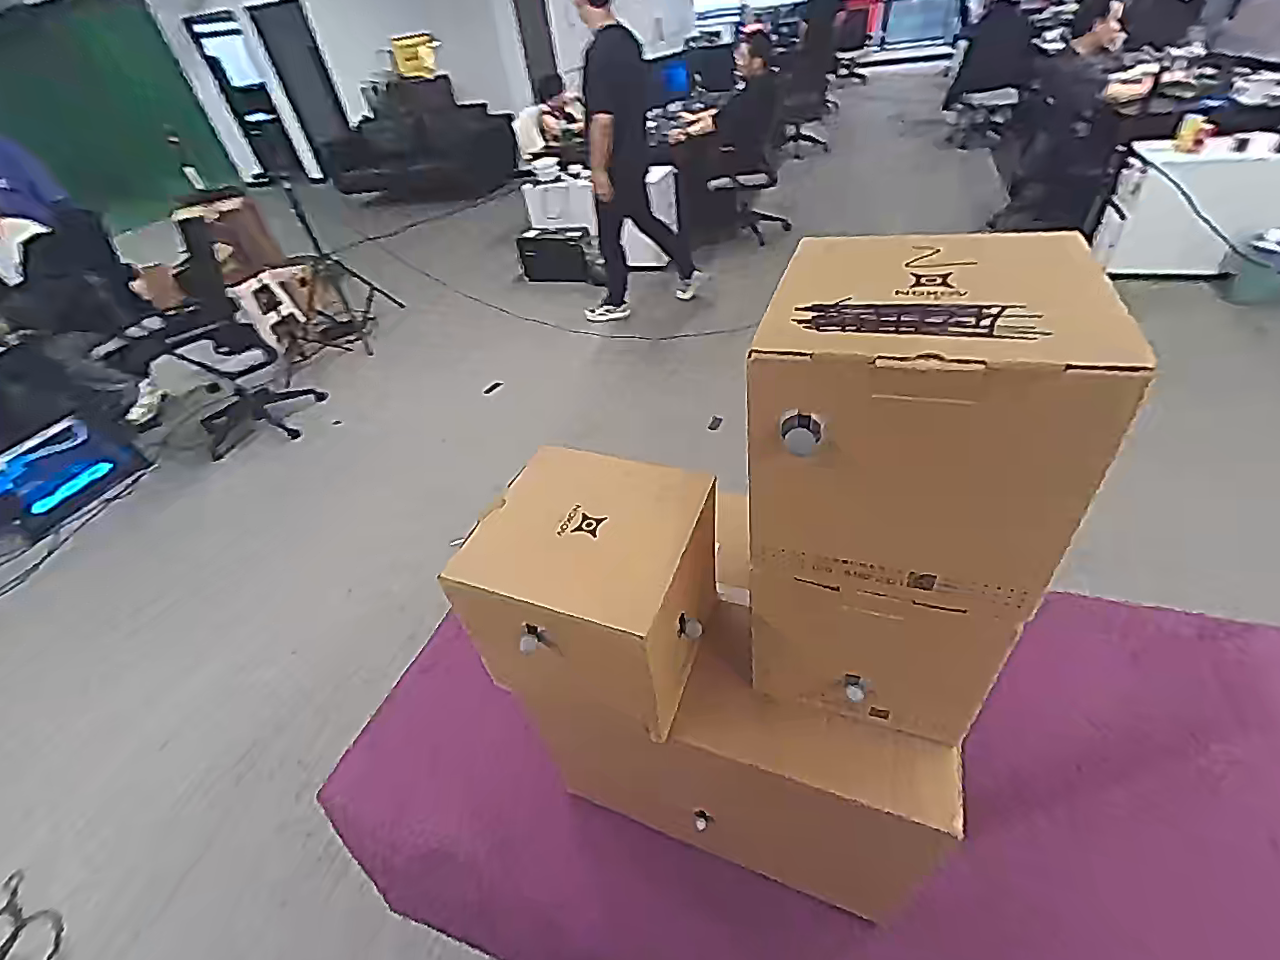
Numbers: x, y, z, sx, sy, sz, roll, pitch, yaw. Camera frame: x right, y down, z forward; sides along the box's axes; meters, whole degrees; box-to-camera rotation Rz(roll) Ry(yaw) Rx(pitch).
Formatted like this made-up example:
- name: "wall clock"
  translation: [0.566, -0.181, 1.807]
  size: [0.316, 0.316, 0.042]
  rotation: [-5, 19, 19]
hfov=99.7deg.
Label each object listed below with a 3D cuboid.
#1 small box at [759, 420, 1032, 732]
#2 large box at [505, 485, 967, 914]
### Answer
- name: "small box"
  translation: [0.197, 0.072, 0.454]
  size: [0.168, 0.176, 0.179]
  rotation: [8, 43, 21]
- name: "large box"
  translation: [0.124, 0.240, 0.654]
  size: [0.408, 0.320, 0.320]
  rotation: [8, 42, 21]
